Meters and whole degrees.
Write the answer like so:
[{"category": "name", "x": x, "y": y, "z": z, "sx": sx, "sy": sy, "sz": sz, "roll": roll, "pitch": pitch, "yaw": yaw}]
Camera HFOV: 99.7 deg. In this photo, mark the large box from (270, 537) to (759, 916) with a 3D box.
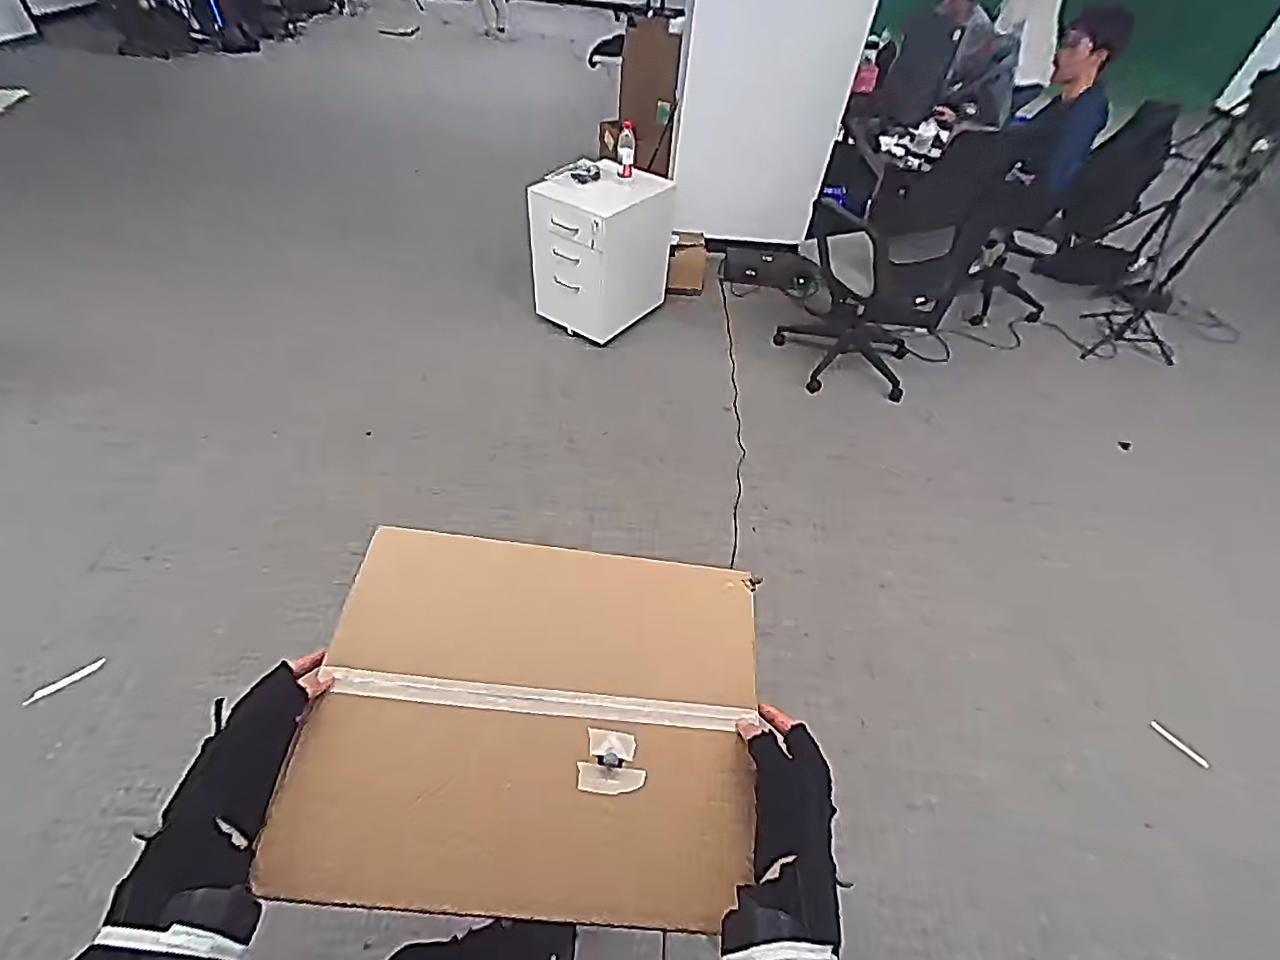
[{"category": "large box", "x": -0.107, "y": 0.293, "z": 0.641, "sx": 0.408, "sy": 0.320, "sz": 0.320, "roll": 8, "pitch": 57, "yaw": -4}]
